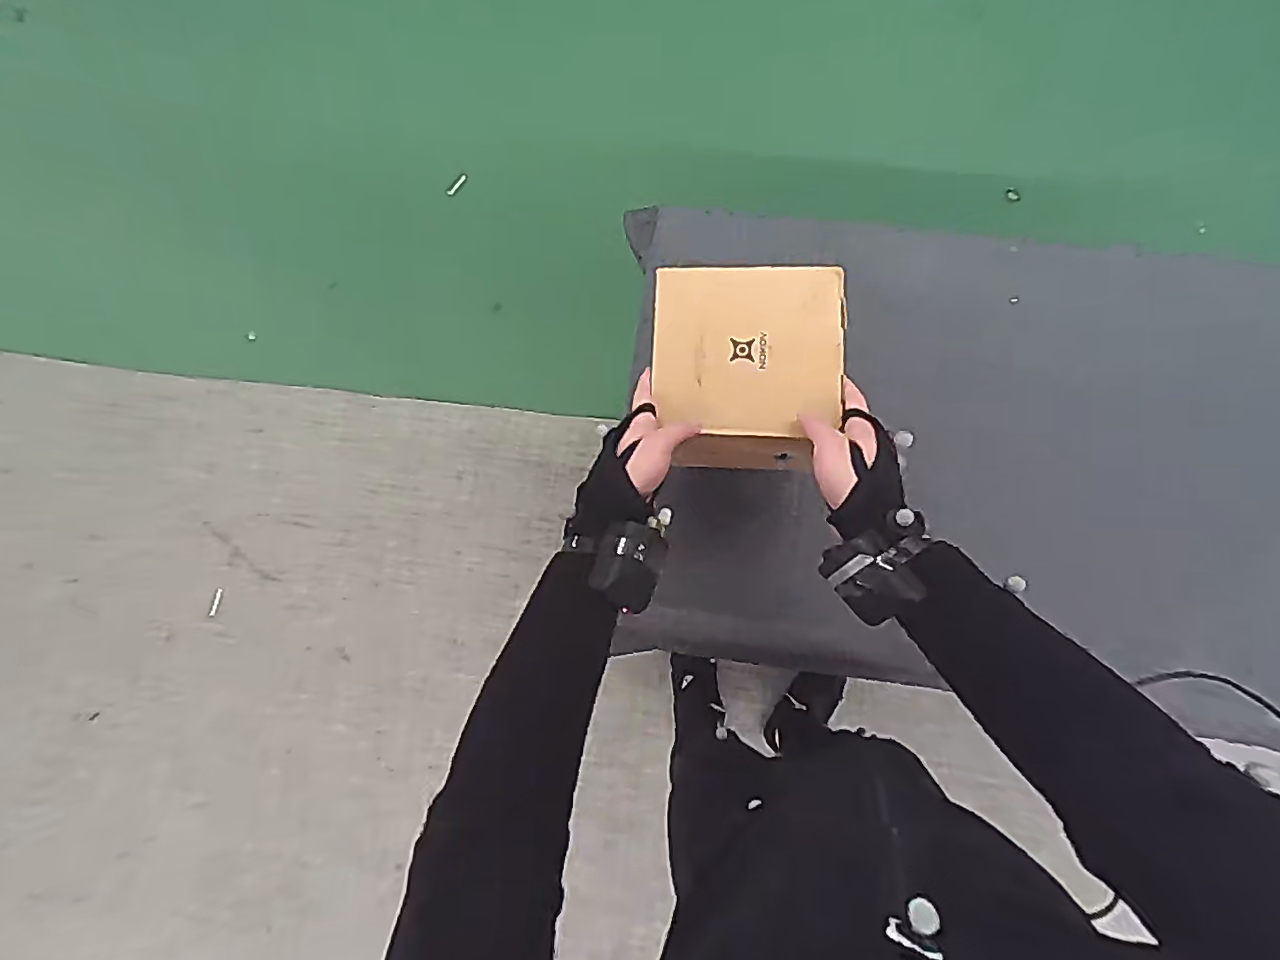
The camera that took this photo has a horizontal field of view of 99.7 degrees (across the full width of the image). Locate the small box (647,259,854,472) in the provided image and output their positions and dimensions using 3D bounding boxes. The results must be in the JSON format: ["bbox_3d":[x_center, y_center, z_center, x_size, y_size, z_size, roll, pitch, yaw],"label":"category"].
[{"bbox_3d":[0.107,-0.106,0.564,0.179,0.176,0.168,4,80,7],"label":"small box"}]
